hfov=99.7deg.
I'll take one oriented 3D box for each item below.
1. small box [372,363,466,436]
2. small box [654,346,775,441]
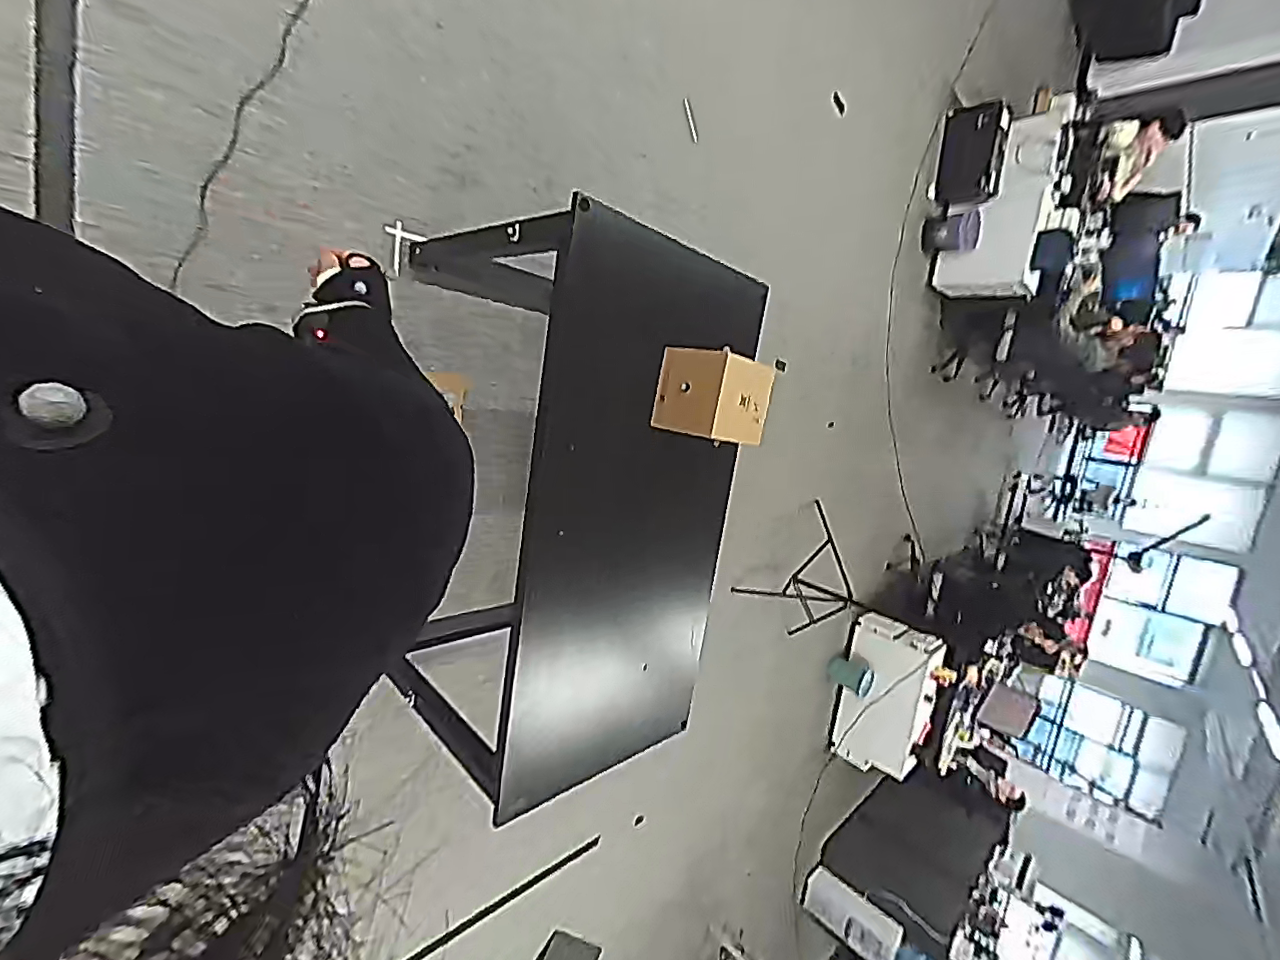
[{"bbox_3d":[-0.588,-0.215,1.434,0.179,0.176,0.168,-1,103,-44],"label":"small box"},{"bbox_3d":[0.153,-0.182,1.135,0.179,0.176,0.168,4,100,-46],"label":"small box"}]
